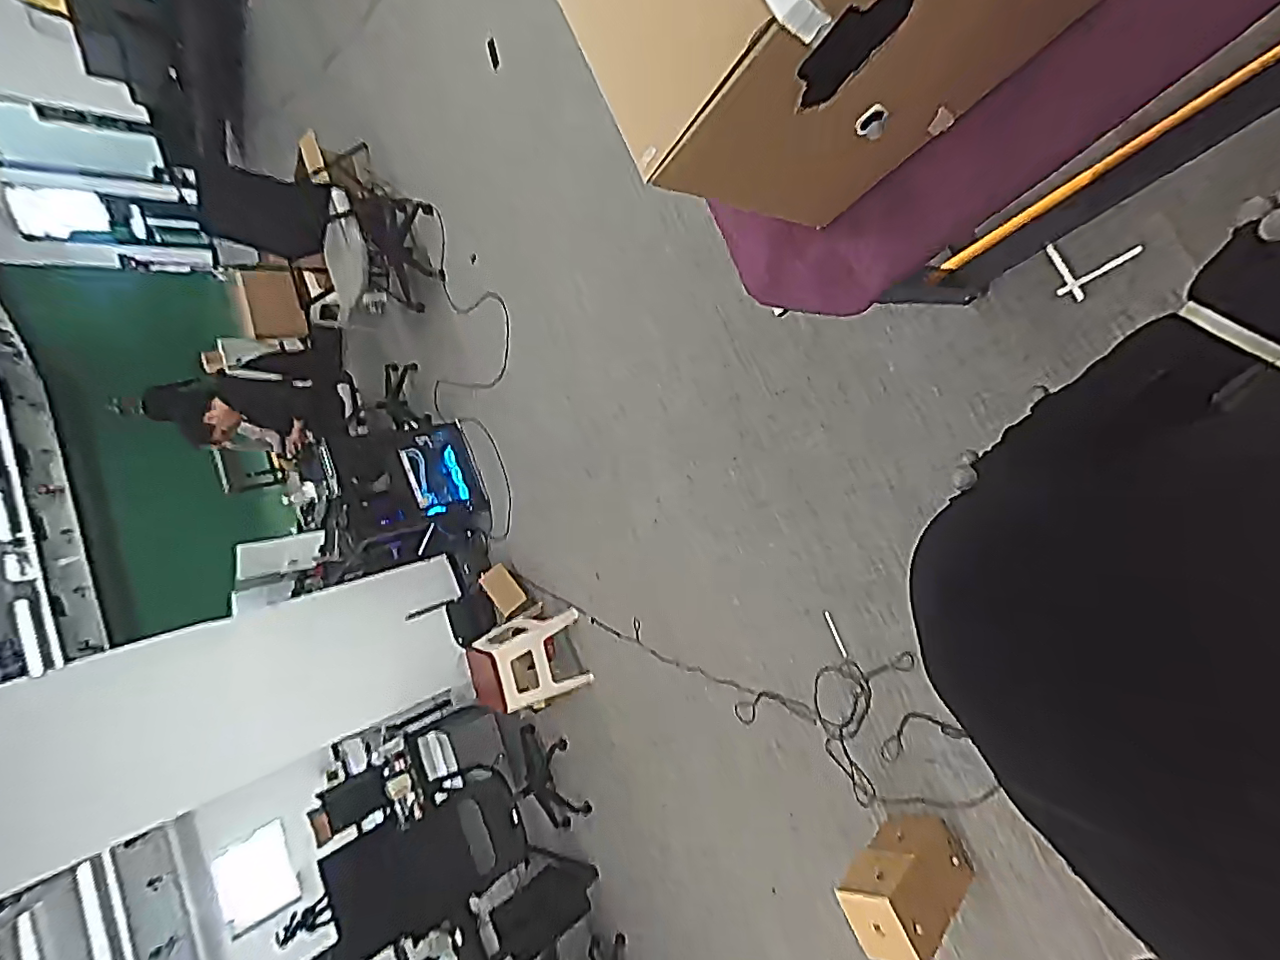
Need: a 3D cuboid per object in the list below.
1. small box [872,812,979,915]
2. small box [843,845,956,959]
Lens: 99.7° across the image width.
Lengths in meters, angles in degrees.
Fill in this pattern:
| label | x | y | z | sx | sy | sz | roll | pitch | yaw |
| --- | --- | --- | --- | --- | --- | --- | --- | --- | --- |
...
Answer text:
| label | x | y | z | sx | sy | sz | roll | pitch | yaw |
| --- | --- | --- | --- | --- | --- | --- | --- | --- | --- |
| small box | 0.788 | 1.046 | 1.491 | 0.179 | 0.176 | 0.168 | -42 | 71 | 47 |
| small box | 0.667 | 1.078 | 1.388 | 0.168 | 0.176 | 0.179 | -39 | 74 | 47 |
